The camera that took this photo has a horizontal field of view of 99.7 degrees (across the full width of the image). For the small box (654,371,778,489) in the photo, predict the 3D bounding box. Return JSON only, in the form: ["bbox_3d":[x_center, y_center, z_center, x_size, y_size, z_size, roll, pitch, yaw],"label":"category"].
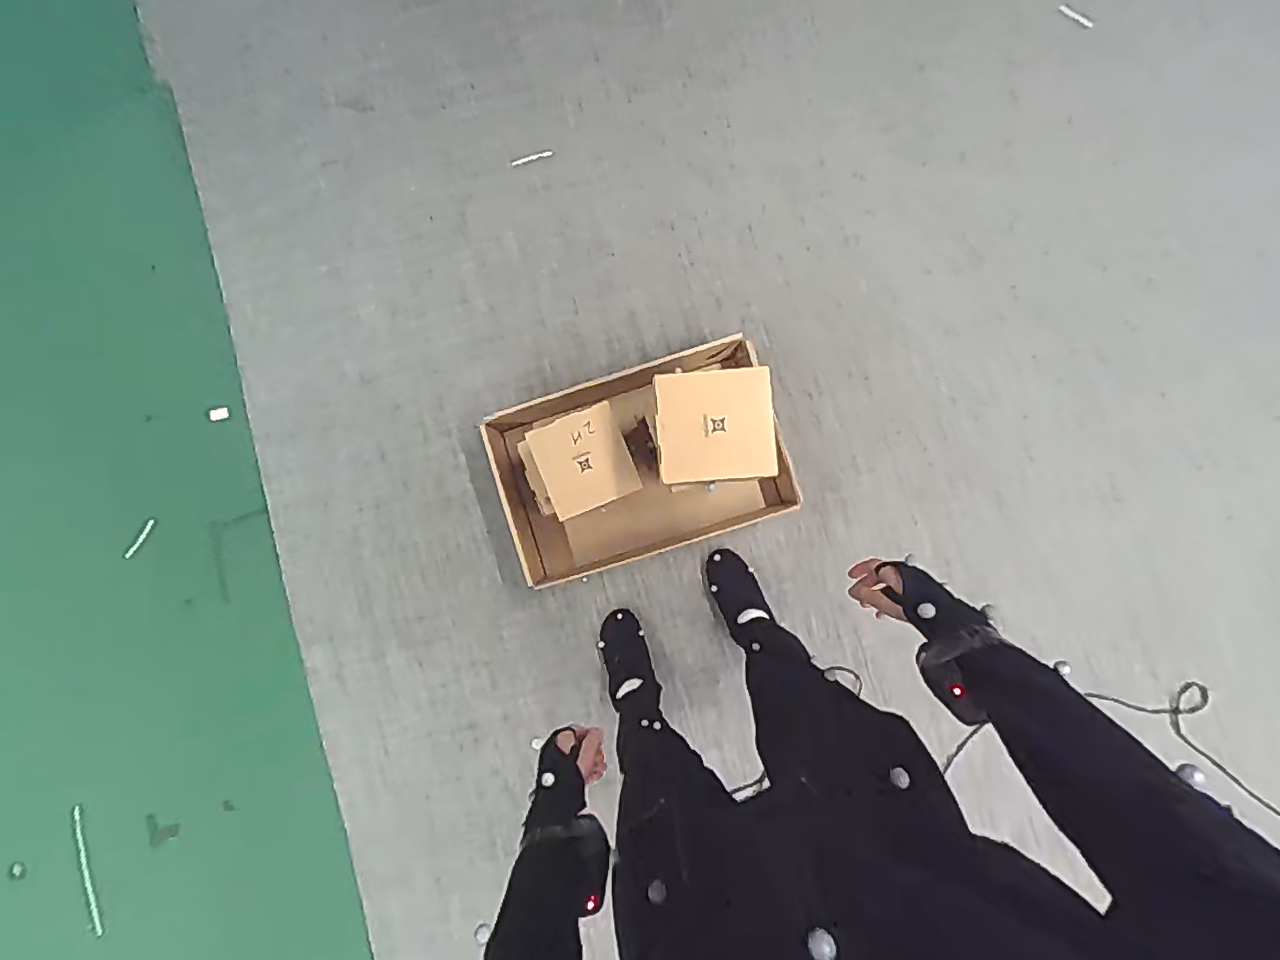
[{"bbox_3d":[0.117,-0.075,0.887,0.179,0.176,0.168,-6,89,4],"label":"small box"}]

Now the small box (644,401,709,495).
[{"bbox_3d":[0.115,-0.077,1.050,0.168,0.176,0.179,-21,87,3],"label":"small box"}]

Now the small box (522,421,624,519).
[{"bbox_3d":[-0.143,-0.017,1.223,0.179,0.176,0.168,-21,88,-1],"label":"small box"}]

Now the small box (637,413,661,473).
[{"bbox_3d":[0.110,-0.091,1.215,0.179,0.176,0.168,-25,87,2],"label":"small box"}]
